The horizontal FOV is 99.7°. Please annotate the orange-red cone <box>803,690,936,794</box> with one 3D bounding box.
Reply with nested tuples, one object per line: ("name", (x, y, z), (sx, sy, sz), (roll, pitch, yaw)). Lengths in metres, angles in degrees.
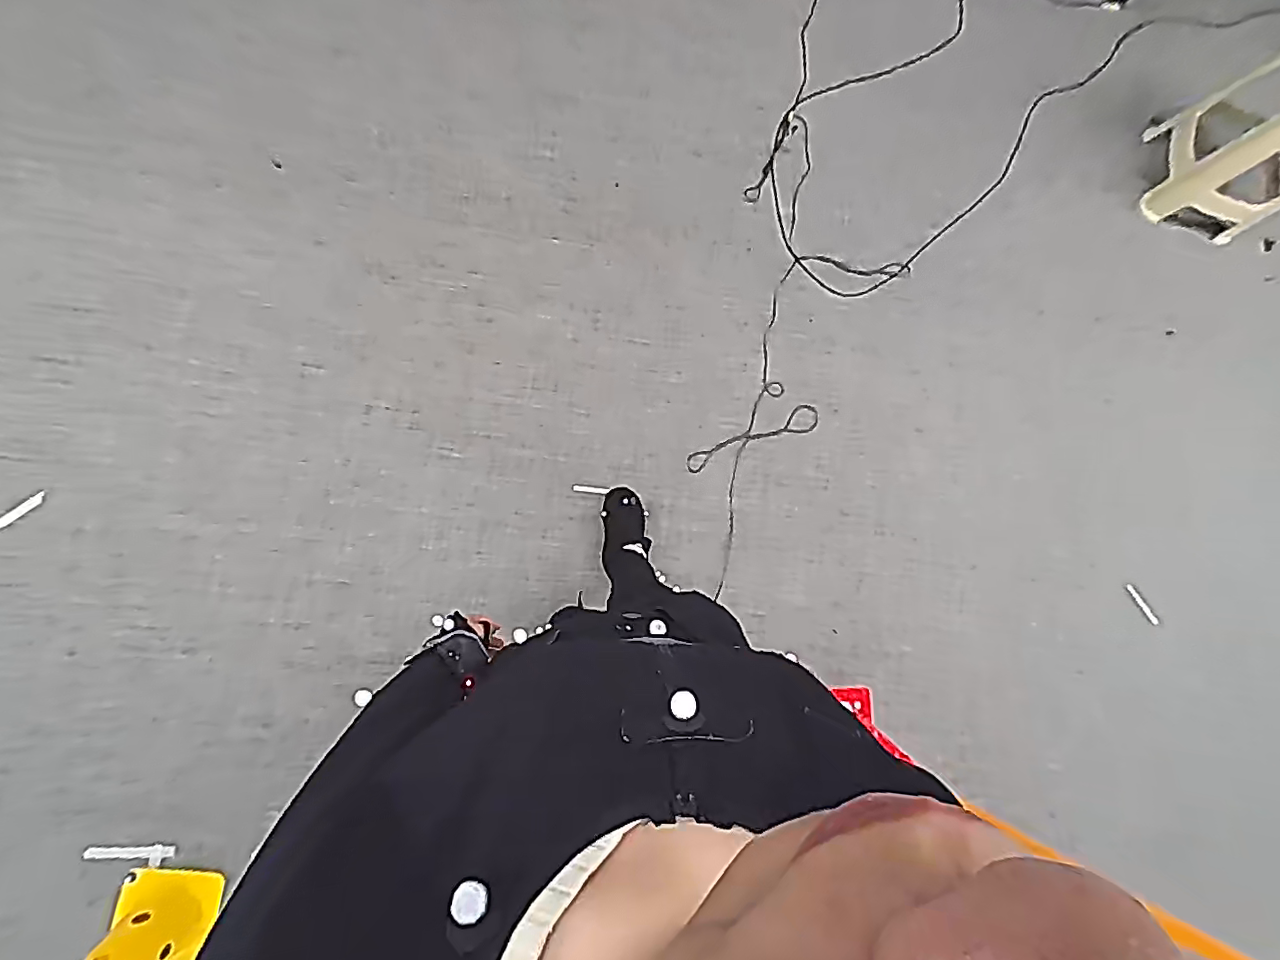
("orange-red cone", (0.530, 0.613, 1.210), (0.199, 0.360, 0.198), (1, 81, -6))
